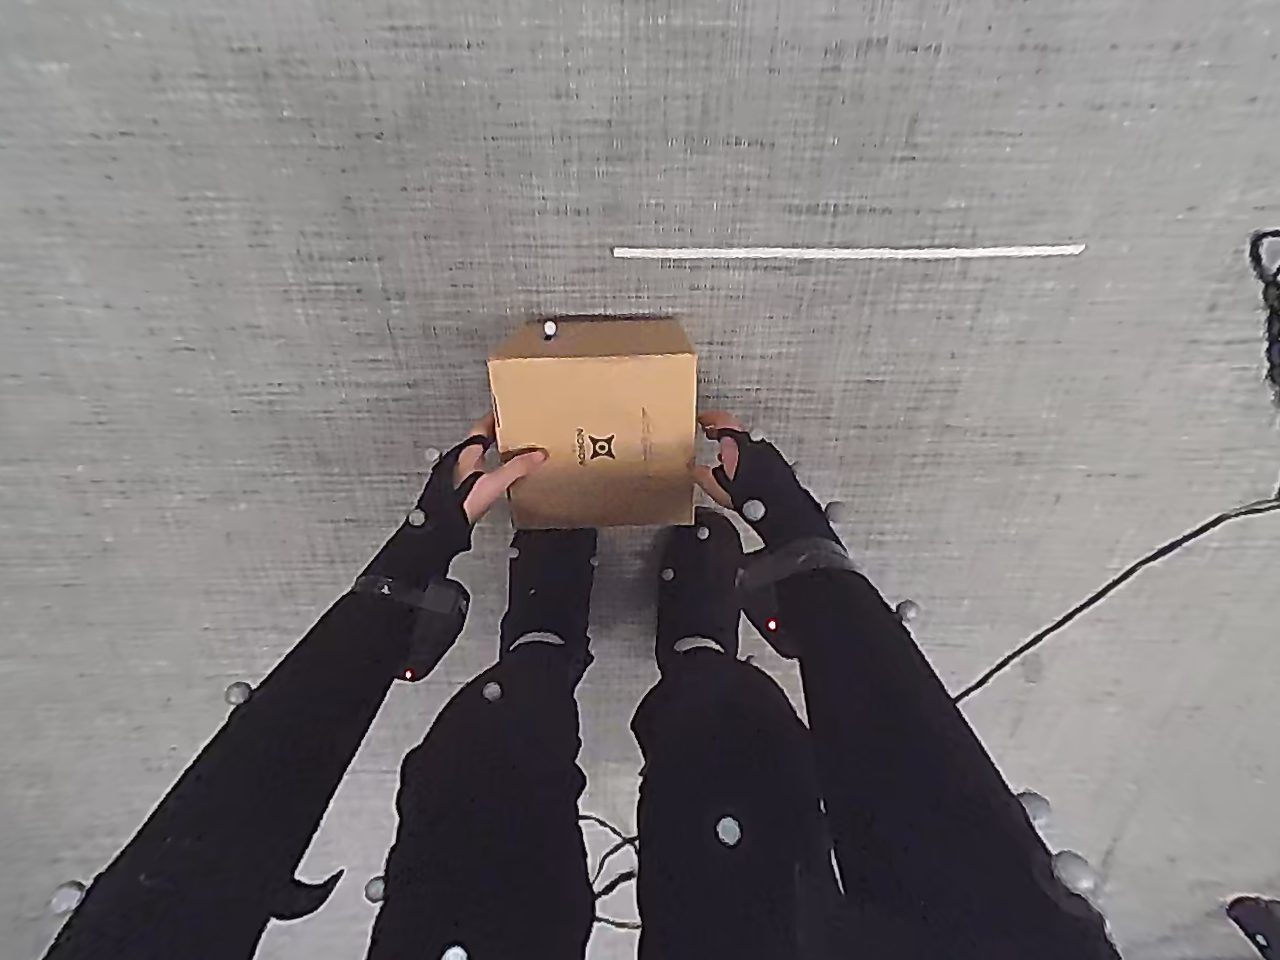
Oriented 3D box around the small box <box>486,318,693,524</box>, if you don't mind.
[{"bbox_3d":[-0.041,-0.068,0.553,0.179,0.176,0.168,-2,116,0],"label":"small box"}]
